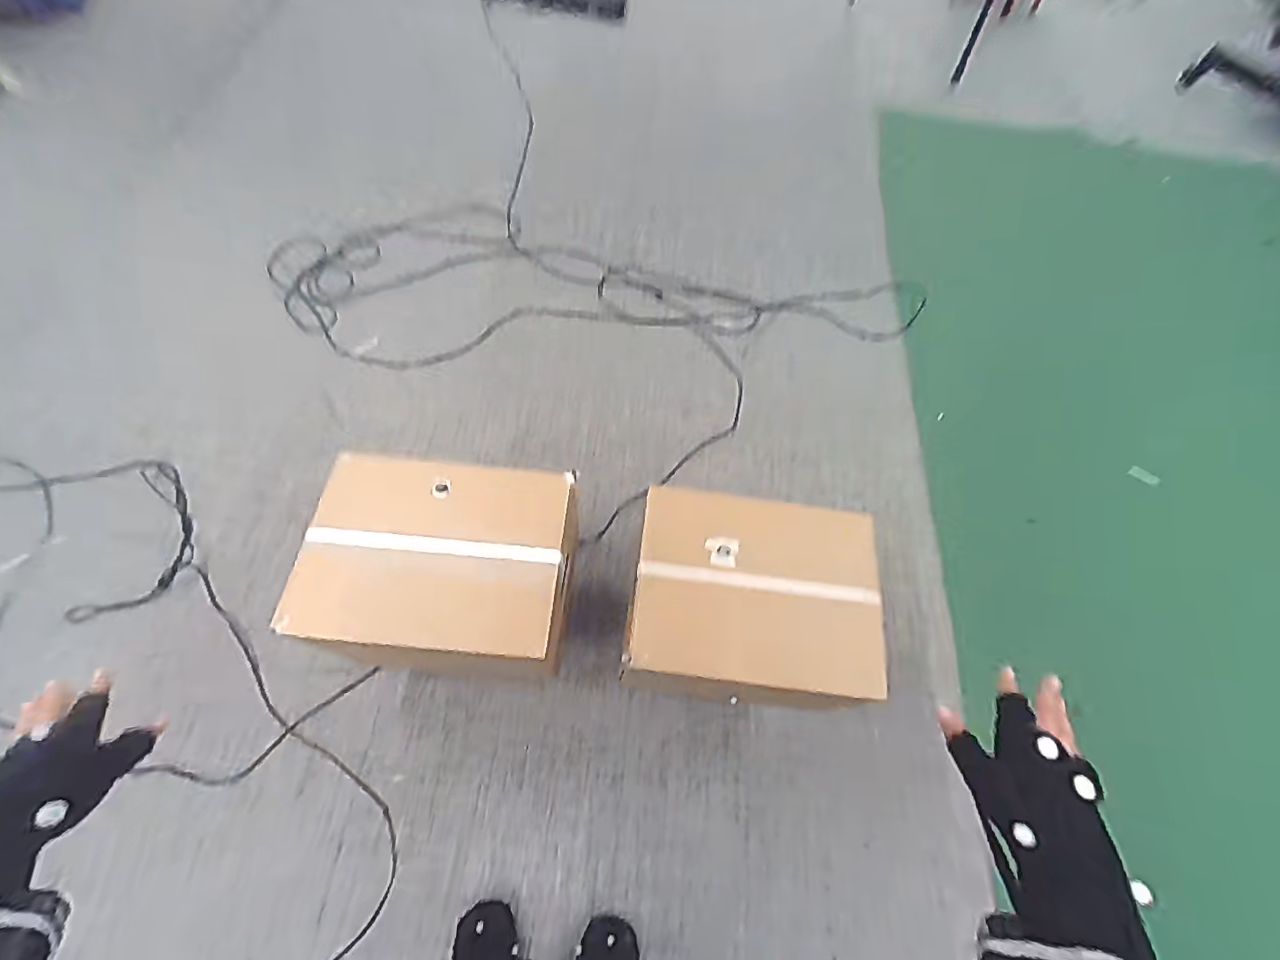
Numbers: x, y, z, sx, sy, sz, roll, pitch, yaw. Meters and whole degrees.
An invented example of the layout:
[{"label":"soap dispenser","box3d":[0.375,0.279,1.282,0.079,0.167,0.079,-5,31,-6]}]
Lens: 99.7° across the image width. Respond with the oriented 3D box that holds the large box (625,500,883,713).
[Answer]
[{"label":"large box","box3d":[0.193,0.259,1.043,0.408,0.320,0.320,8,63,0]}]
